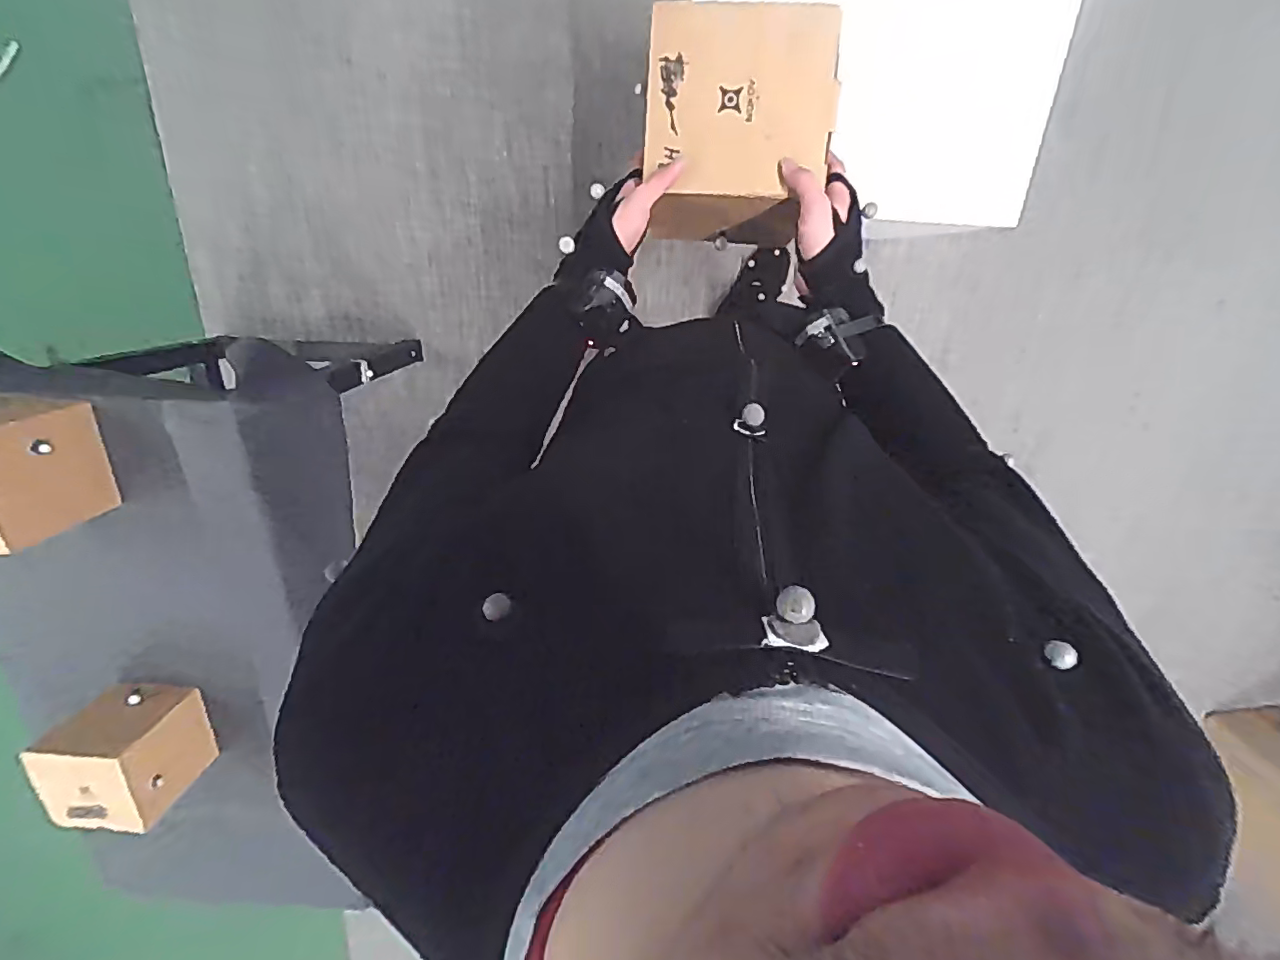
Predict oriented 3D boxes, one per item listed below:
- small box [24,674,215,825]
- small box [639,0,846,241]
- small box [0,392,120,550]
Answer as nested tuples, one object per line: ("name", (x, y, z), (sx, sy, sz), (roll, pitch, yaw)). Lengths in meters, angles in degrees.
("small box", (-0.932, 0.488, 0.991), (0.168, 0.176, 0.179), (4, 111, 1))
("small box", (0.094, -0.364, 0.574), (0.179, 0.176, 0.168), (4, 99, 2))
("small box", (-0.926, -0.022, 0.782), (0.168, 0.176, 0.179), (5, 114, 2))
